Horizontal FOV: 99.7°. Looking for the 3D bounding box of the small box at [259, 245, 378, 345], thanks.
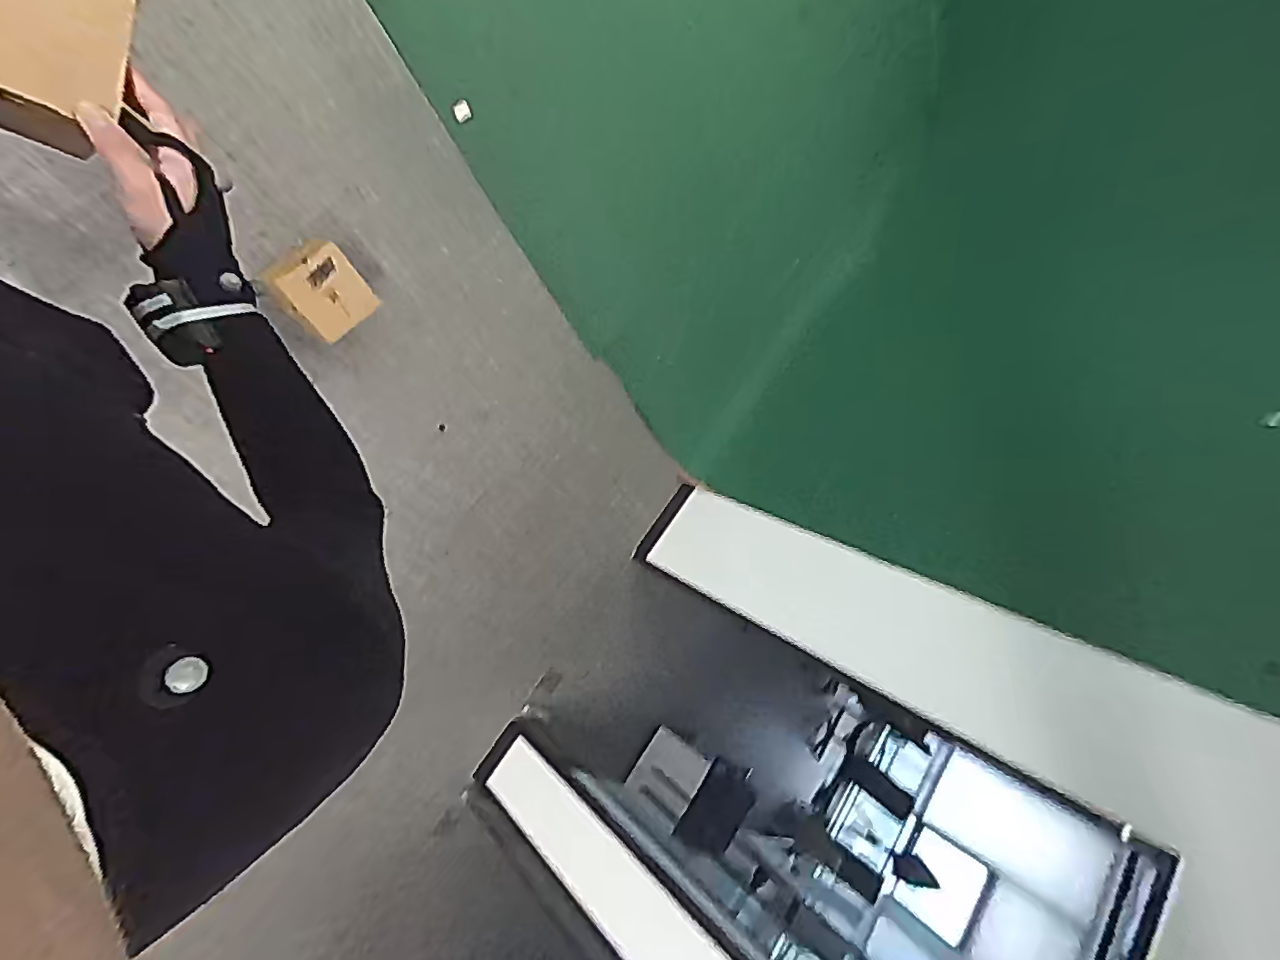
[{"bbox_3d":[-0.810,-0.468,1.358,0.168,0.176,0.179,-48,138,-19],"label":"small box"}]
